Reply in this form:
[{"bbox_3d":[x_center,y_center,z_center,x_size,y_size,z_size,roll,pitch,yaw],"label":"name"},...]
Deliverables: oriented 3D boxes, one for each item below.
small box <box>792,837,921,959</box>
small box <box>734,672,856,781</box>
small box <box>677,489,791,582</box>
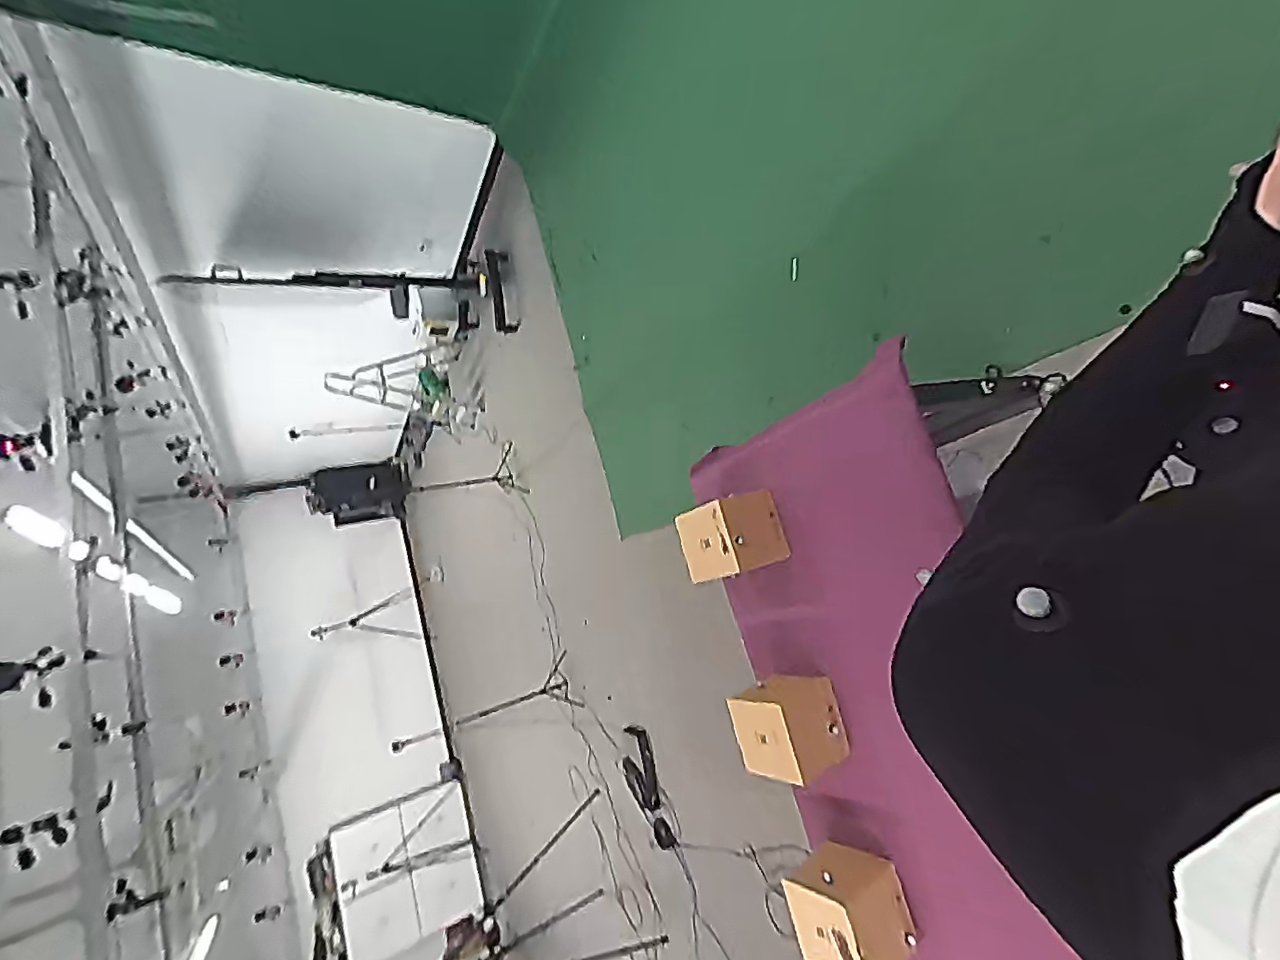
[{"bbox_3d":[0.464,0.898,1.147,0.179,0.176,0.168,-30,73,54],"label":"small box"},{"bbox_3d":[0.349,0.546,1.223,0.179,0.176,0.168,-27,77,54],"label":"small box"},{"bbox_3d":[0.222,0.133,1.286,0.179,0.176,0.168,-31,75,55],"label":"small box"}]
